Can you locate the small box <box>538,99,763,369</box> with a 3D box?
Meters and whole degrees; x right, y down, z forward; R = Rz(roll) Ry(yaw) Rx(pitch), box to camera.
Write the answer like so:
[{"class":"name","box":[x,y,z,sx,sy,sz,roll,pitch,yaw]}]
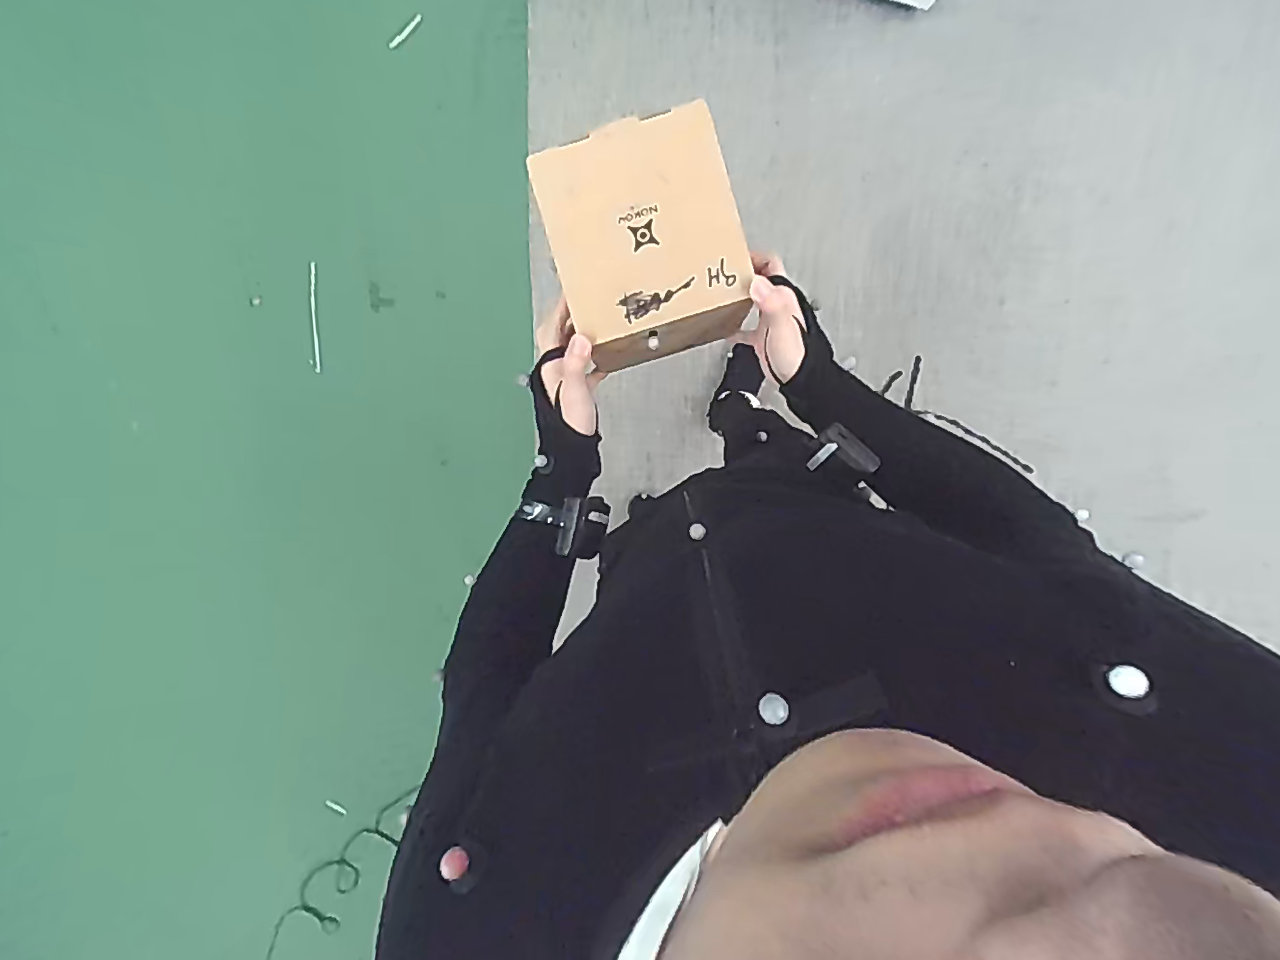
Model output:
[{"class":"small box","box":[0.011,-0.228,0.549,0.168,0.176,0.179,-15,91,4]}]
